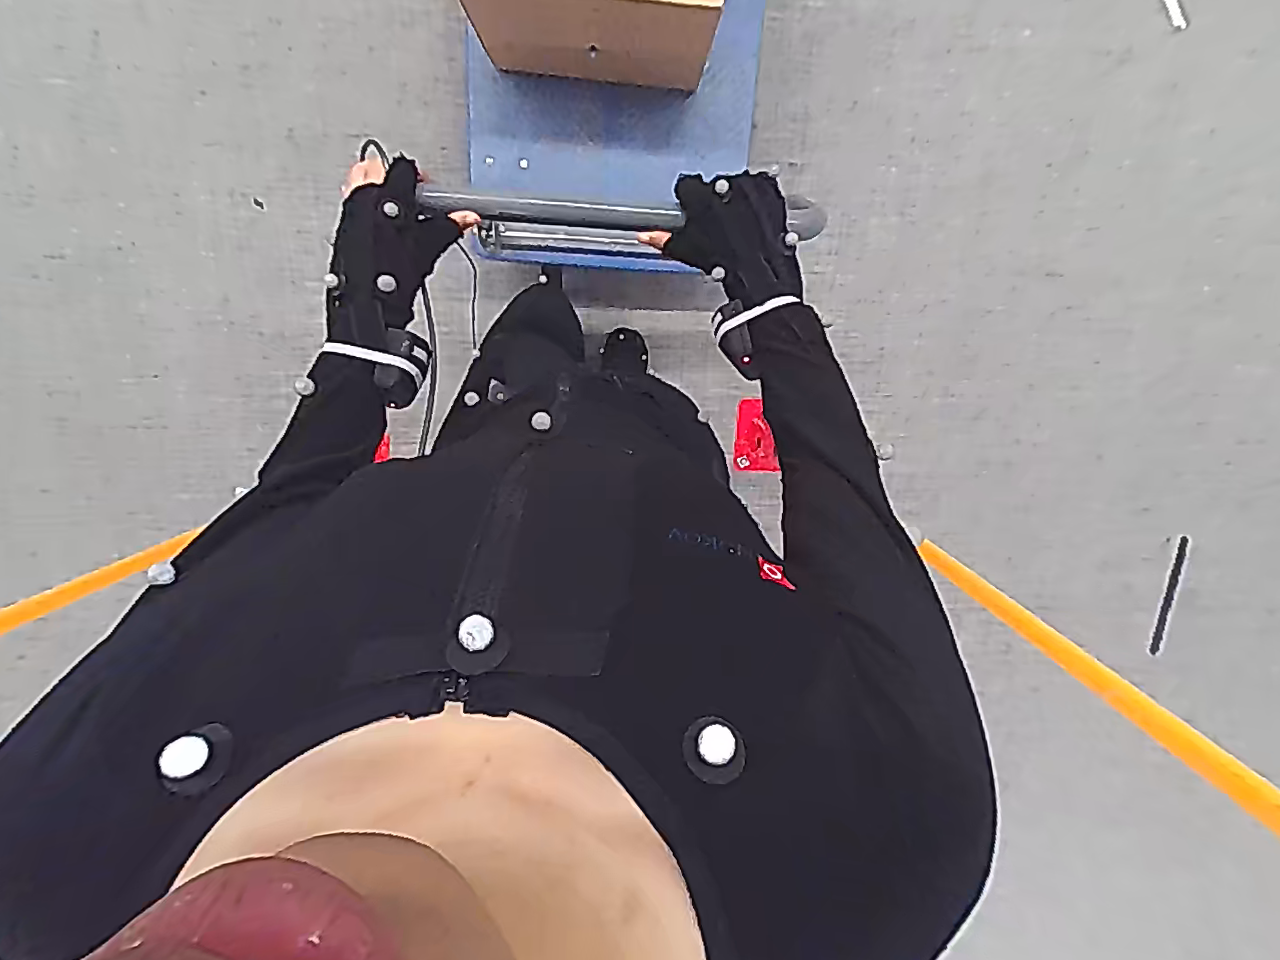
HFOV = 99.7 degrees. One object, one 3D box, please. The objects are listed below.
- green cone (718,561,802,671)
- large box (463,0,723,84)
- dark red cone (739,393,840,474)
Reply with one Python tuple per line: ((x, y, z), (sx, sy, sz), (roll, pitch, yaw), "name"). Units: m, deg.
((0.342, 0.379, 1.421), (0.202, 0.368, 0.200), (4, 106, -4), "green cone")
((-0.067, -0.901, 0.891), (0.408, 0.320, 0.320), (4, 107, -2), "large box")
((0.371, -0.081, 1.270), (0.201, 0.394, 0.202), (0, 106, -3), "dark red cone")
